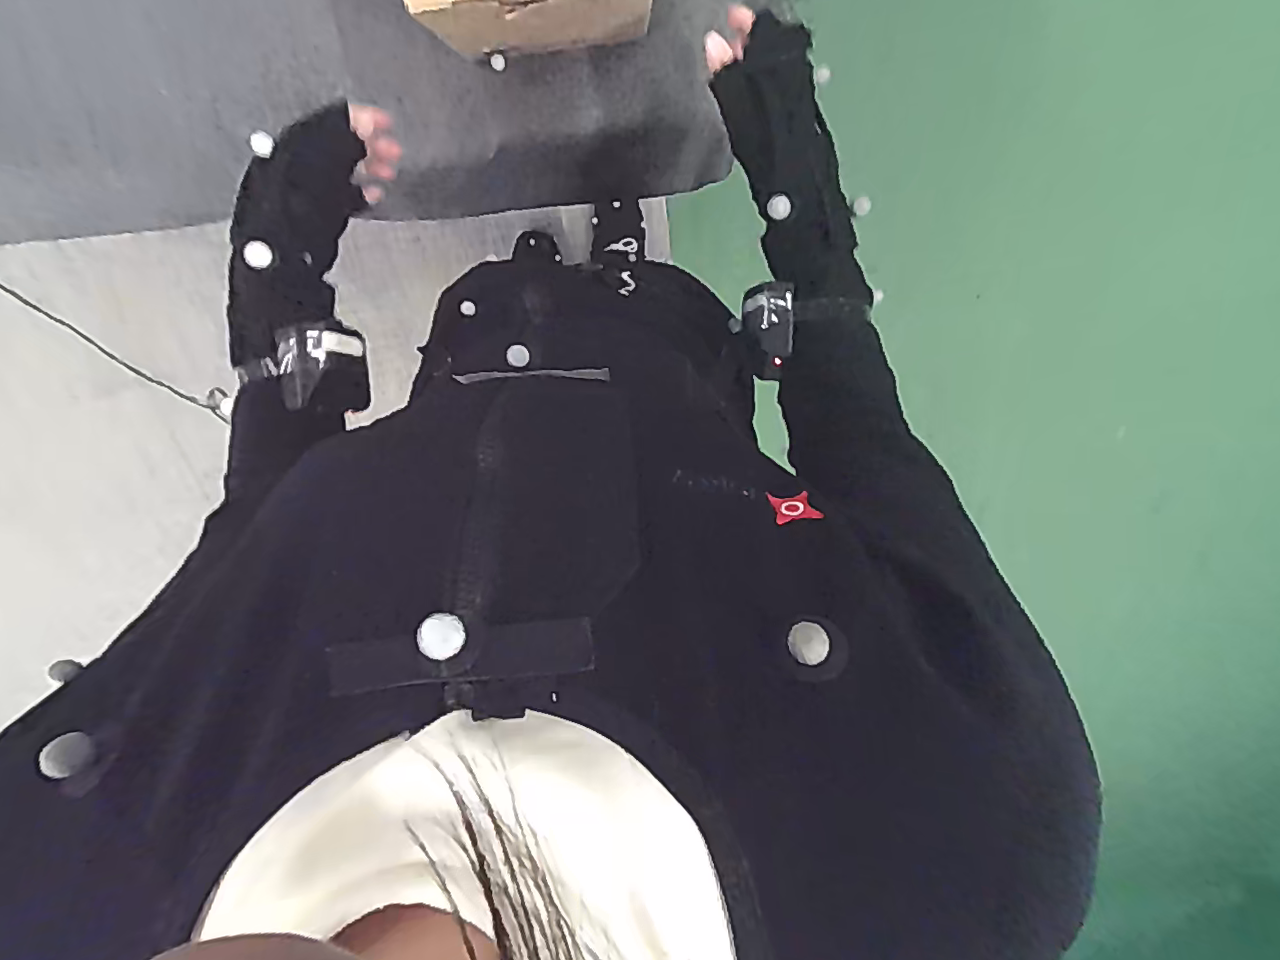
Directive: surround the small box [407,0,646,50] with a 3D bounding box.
[{"bbox_3d":[-0.083,-0.431,0.381,0.168,0.176,0.179,-6,118,1],"label":"small box"}]
